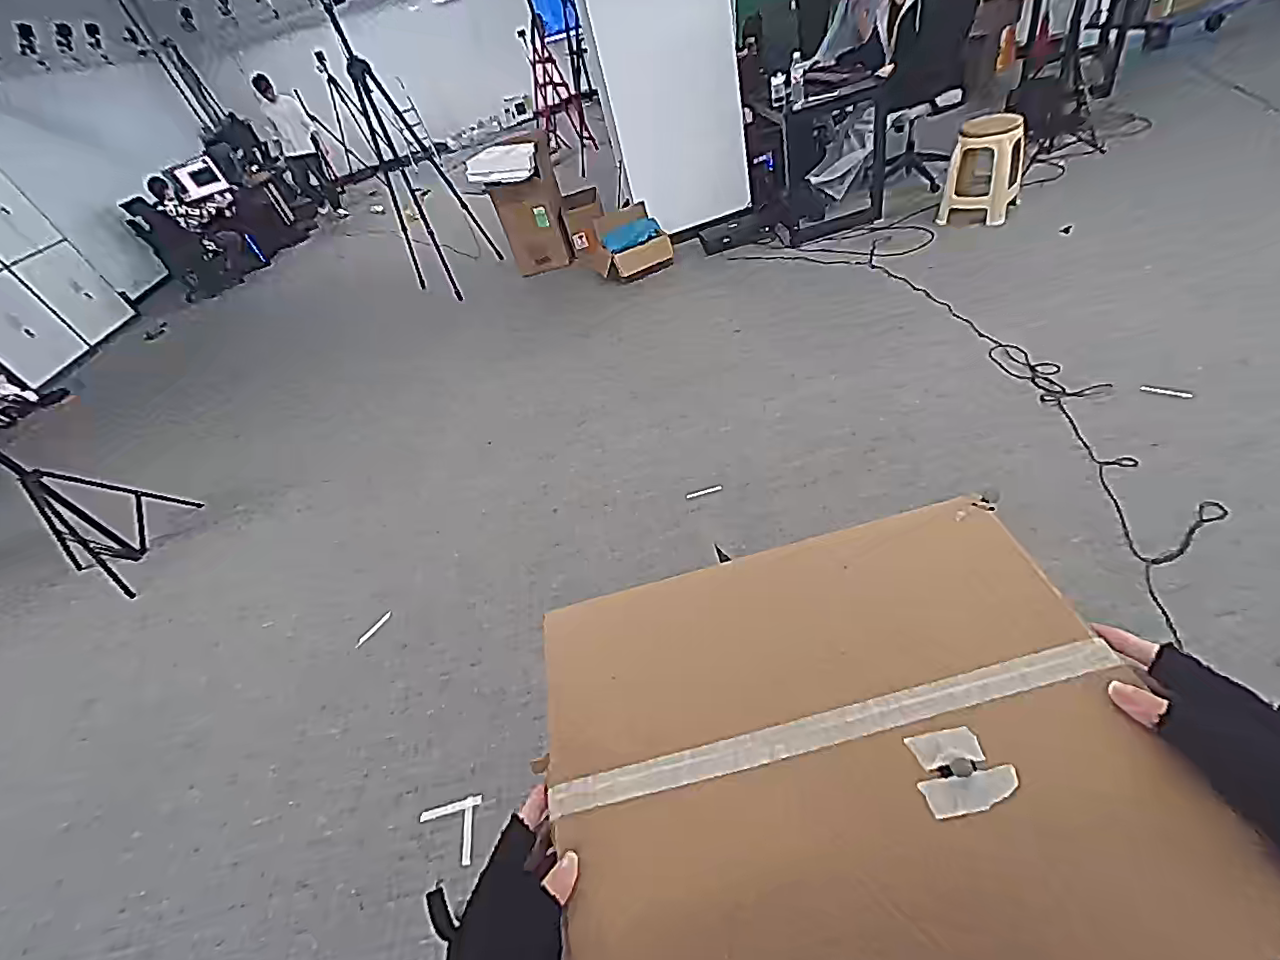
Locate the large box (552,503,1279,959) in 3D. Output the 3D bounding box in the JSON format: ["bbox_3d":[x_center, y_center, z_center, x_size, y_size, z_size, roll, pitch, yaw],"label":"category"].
[{"bbox_3d":[0.164,0.280,0.504,0.408,0.320,0.320,-16,46,1],"label":"large box"}]
